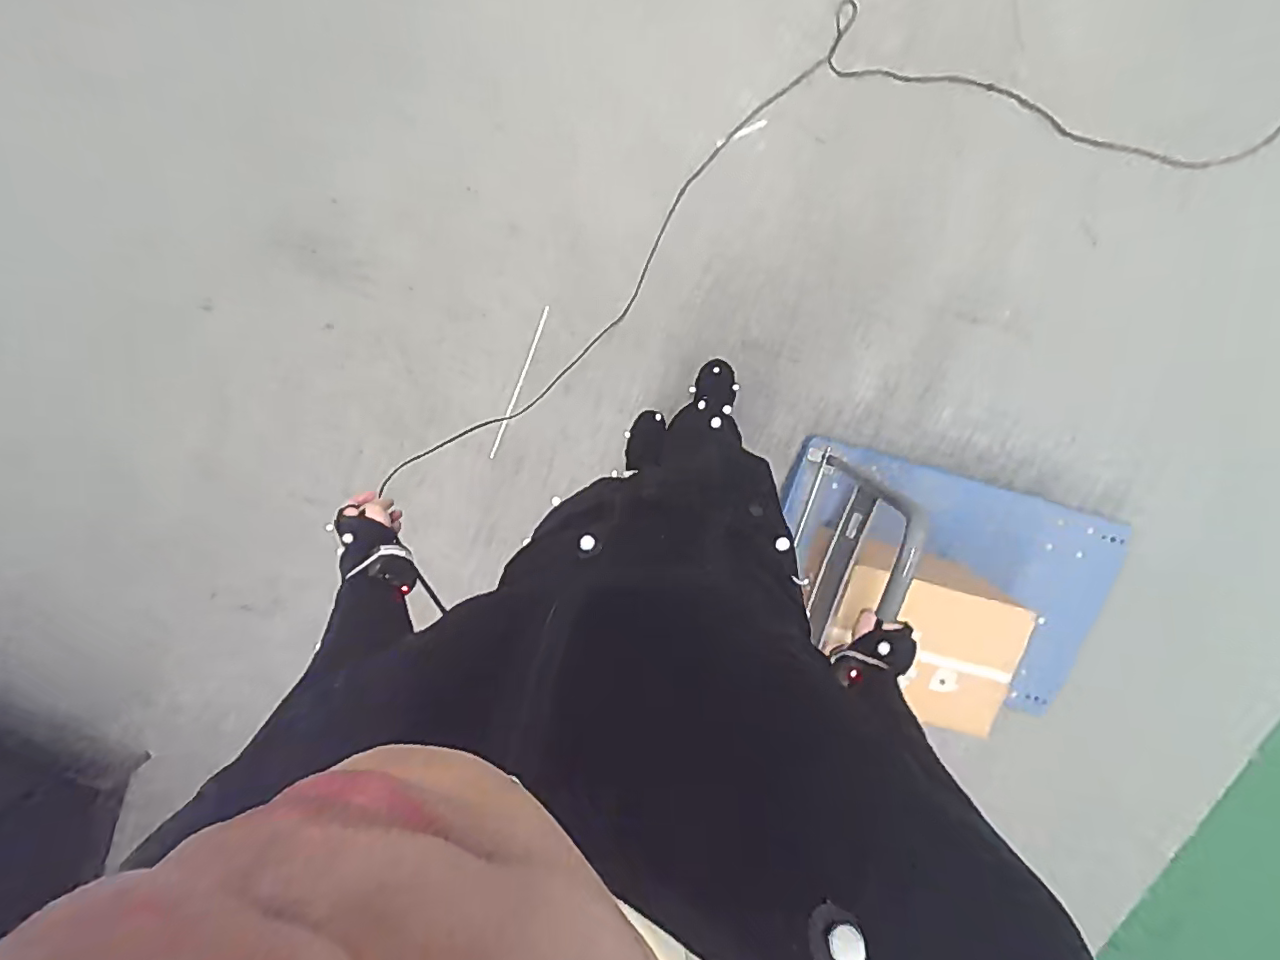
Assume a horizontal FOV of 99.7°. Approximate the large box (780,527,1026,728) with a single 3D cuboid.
[{"bbox_3d":[0.602,0.338,1.325,0.408,0.320,0.320,15,102,0],"label":"large box"}]
